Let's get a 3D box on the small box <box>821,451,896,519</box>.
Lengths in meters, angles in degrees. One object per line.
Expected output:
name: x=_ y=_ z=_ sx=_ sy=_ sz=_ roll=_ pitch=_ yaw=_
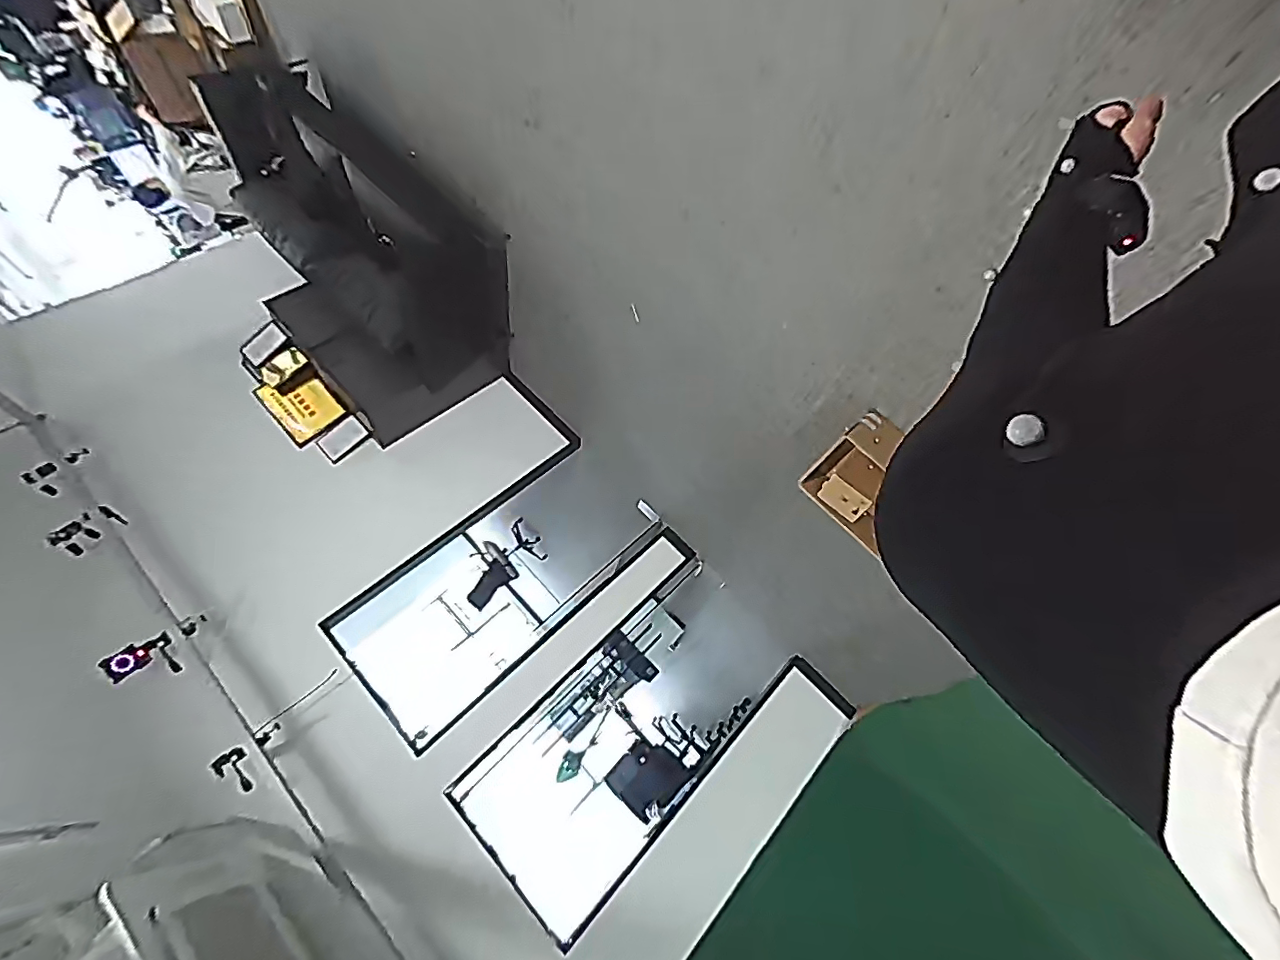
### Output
small box: x=0.840 y=0.010 z=2.079 sx=0.179 sy=0.176 sz=0.168 roll=42 pitch=153 yaw=16
